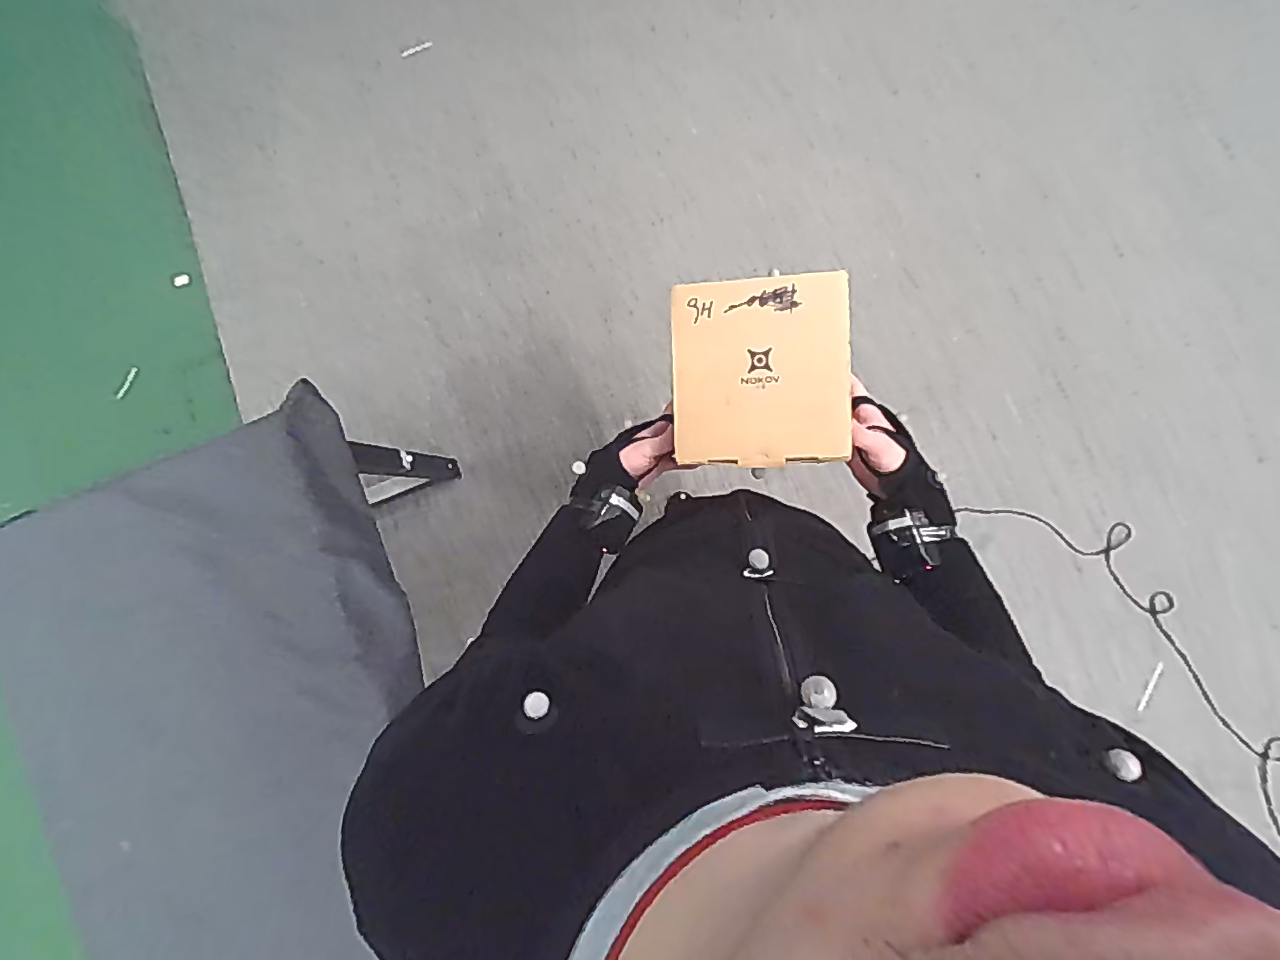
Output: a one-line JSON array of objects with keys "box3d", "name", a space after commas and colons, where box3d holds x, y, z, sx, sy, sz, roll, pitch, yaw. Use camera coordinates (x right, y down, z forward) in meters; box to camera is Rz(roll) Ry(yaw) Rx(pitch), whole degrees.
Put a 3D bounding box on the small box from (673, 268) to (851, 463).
[{"box3d": [0.126, -0.109, 0.586, 0.168, 0.176, 0.179, -1, 92, 9], "name": "small box"}]
